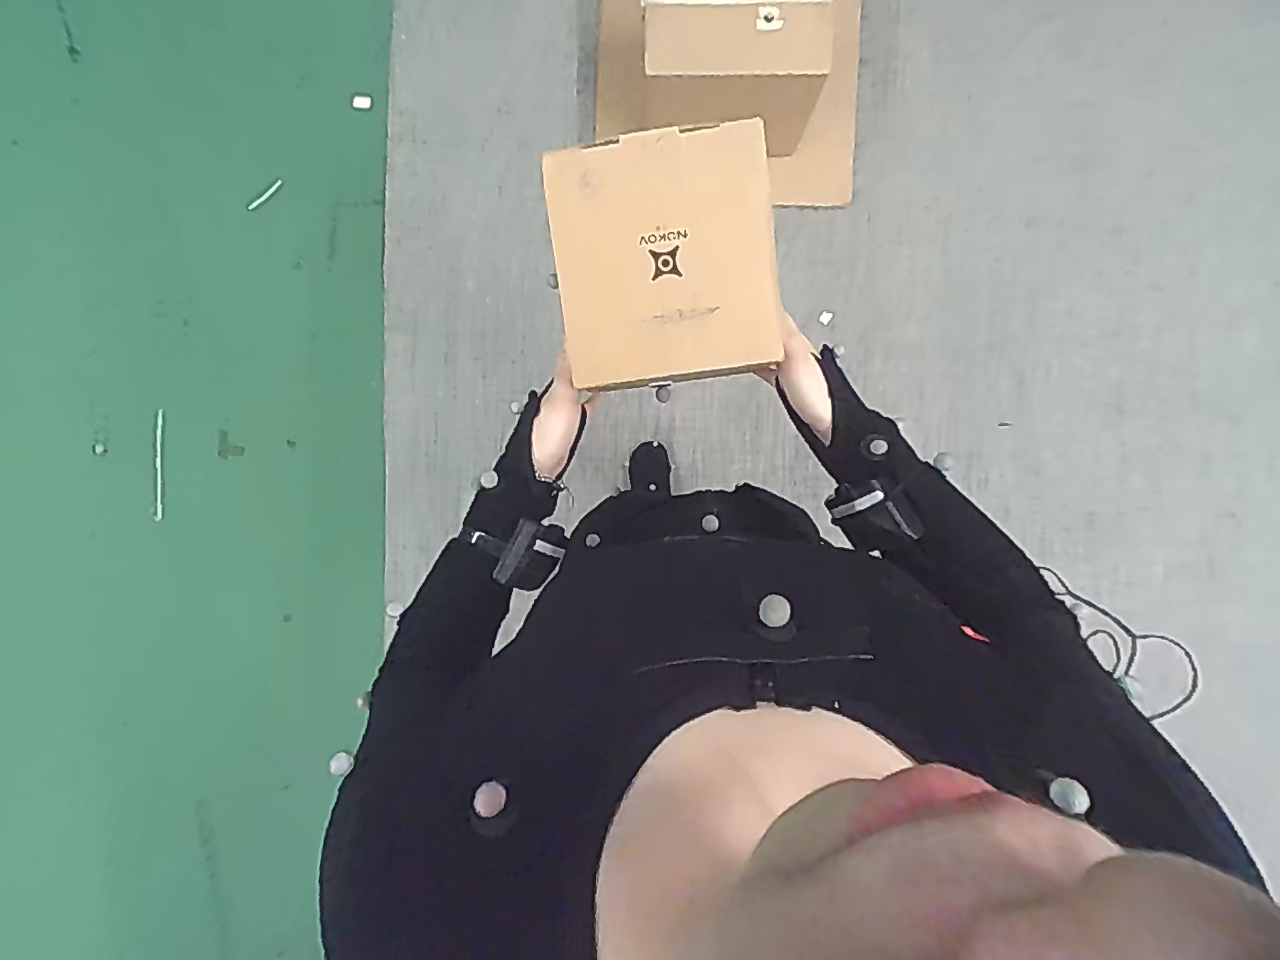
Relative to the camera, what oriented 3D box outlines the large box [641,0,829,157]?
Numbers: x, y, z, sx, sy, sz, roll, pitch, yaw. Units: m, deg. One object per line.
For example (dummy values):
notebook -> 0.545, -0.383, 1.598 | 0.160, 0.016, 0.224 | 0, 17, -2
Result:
large box -> 0.206, -1.021, 1.308 | 0.408, 0.320, 0.320 | 0, 92, 0
